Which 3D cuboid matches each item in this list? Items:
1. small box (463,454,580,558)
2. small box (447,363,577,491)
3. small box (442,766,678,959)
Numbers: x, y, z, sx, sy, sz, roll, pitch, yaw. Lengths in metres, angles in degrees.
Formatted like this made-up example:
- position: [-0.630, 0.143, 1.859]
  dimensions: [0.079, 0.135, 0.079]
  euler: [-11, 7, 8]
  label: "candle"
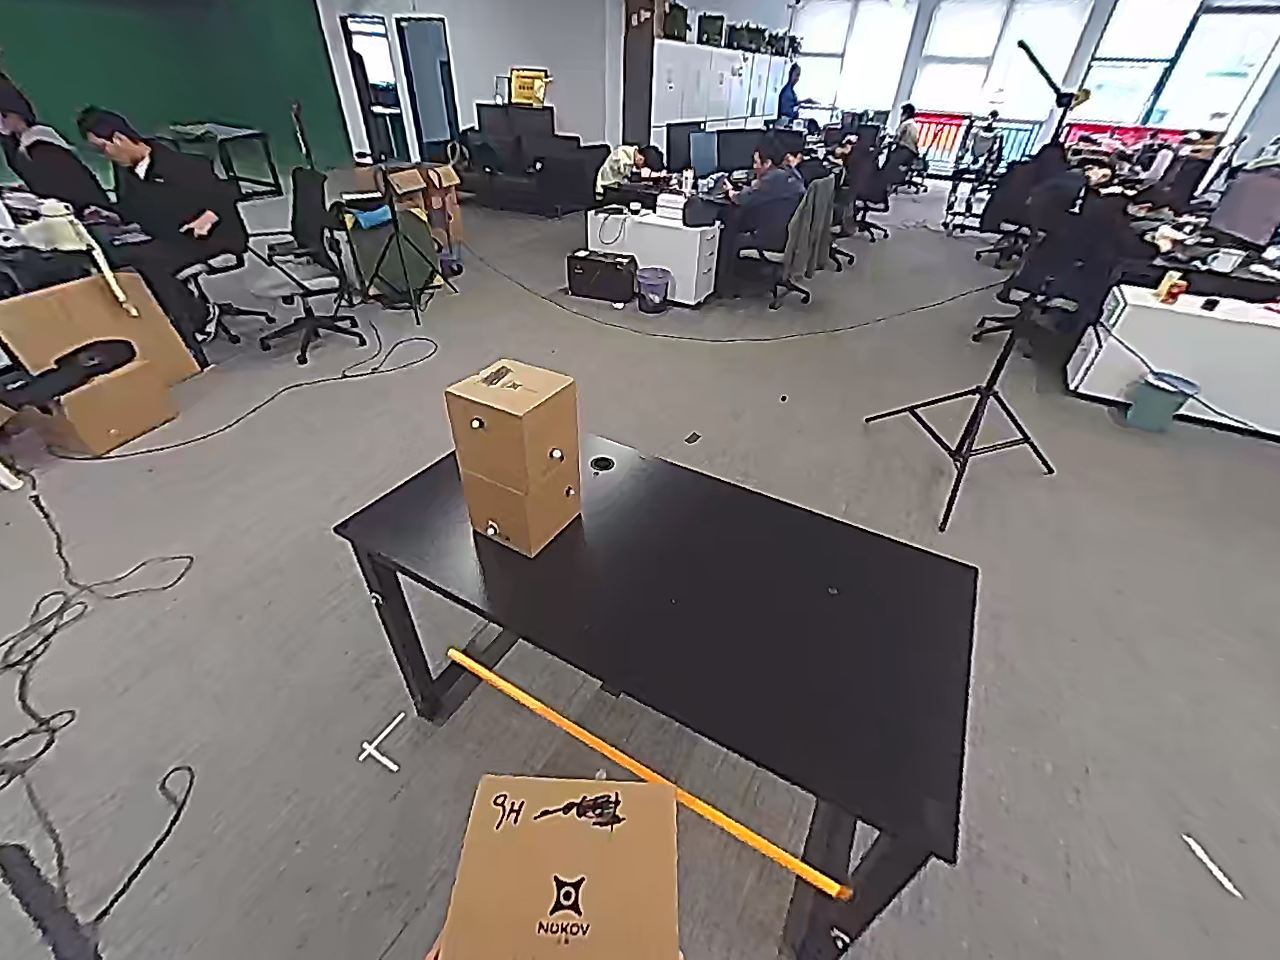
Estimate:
- position: [-0.240, 0.029, 1.132]
  dimensions: [0.168, 0.176, 0.179]
  euler: [19, 41, 23]
  label: "small box"
- position: [-0.236, -0.102, 1.033]
  dimensions: [0.179, 0.176, 0.168]
  euler: [19, 40, 21]
  label: "small box"
- position: [-0.056, 0.363, 0.451]
  dimensions: [0.168, 0.176, 0.179]
  euler: [3, 45, -1]
  label: "small box"
